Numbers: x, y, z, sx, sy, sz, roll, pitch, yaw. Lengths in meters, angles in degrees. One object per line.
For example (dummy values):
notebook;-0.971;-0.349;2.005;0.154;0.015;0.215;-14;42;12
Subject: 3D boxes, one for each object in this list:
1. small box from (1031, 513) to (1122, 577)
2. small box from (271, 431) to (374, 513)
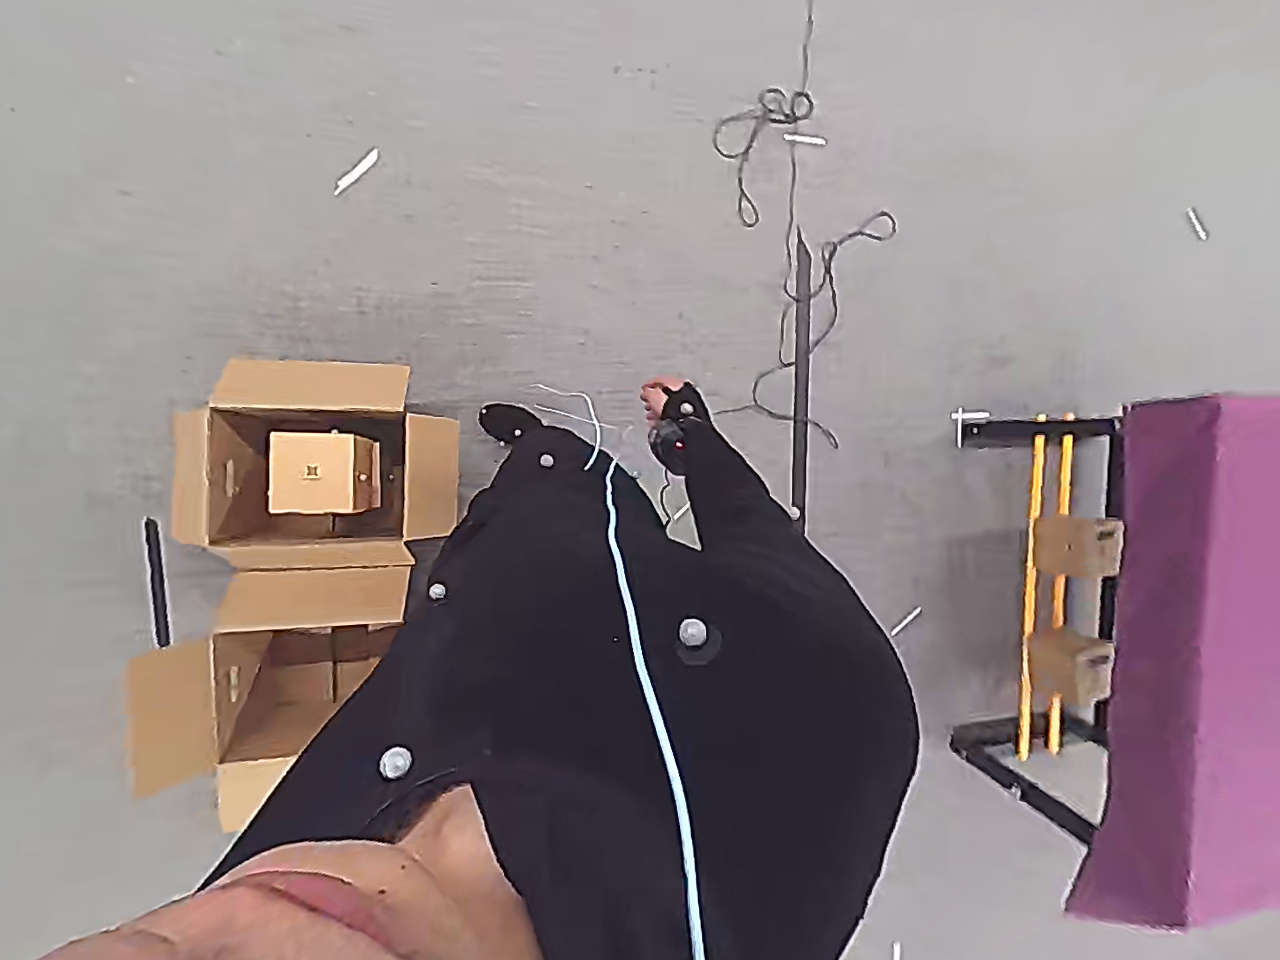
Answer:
small box;1.428;0.207;1.776;0.168;0.176;0.179;-4;97;-12
small box;-0.725;-0.017;1.248;0.168;0.176;0.179;0;91;-14
